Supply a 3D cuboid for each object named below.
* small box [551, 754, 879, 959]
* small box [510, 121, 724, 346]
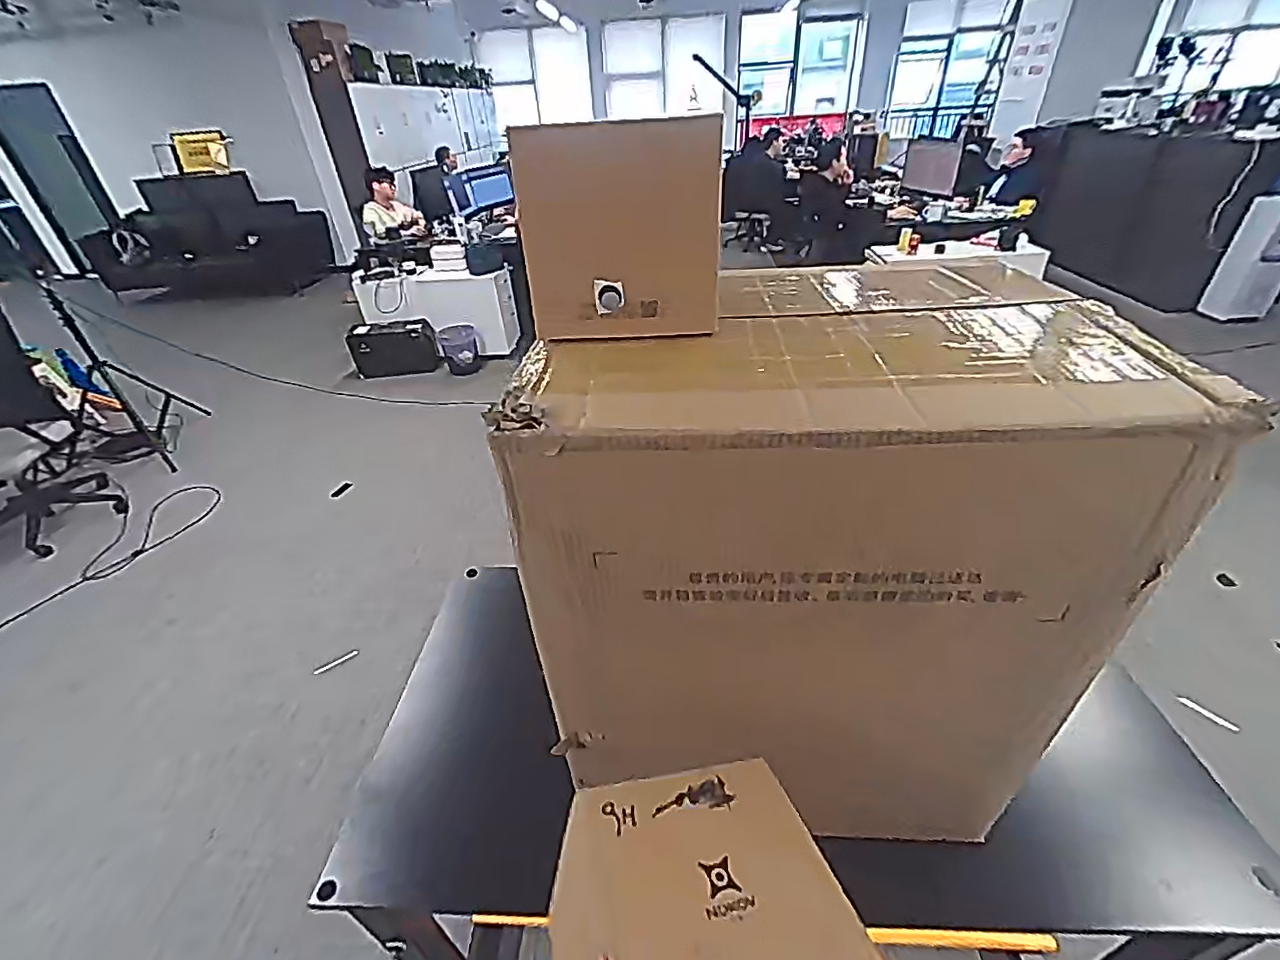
[{"bbox_3d":[0.038,0.338,0.384,0.168,0.176,0.179,1,27,-22],"label":"small box"},{"bbox_3d":[-0.015,-0.238,0.519,0.168,0.176,0.179,-4,34,1],"label":"small box"}]
